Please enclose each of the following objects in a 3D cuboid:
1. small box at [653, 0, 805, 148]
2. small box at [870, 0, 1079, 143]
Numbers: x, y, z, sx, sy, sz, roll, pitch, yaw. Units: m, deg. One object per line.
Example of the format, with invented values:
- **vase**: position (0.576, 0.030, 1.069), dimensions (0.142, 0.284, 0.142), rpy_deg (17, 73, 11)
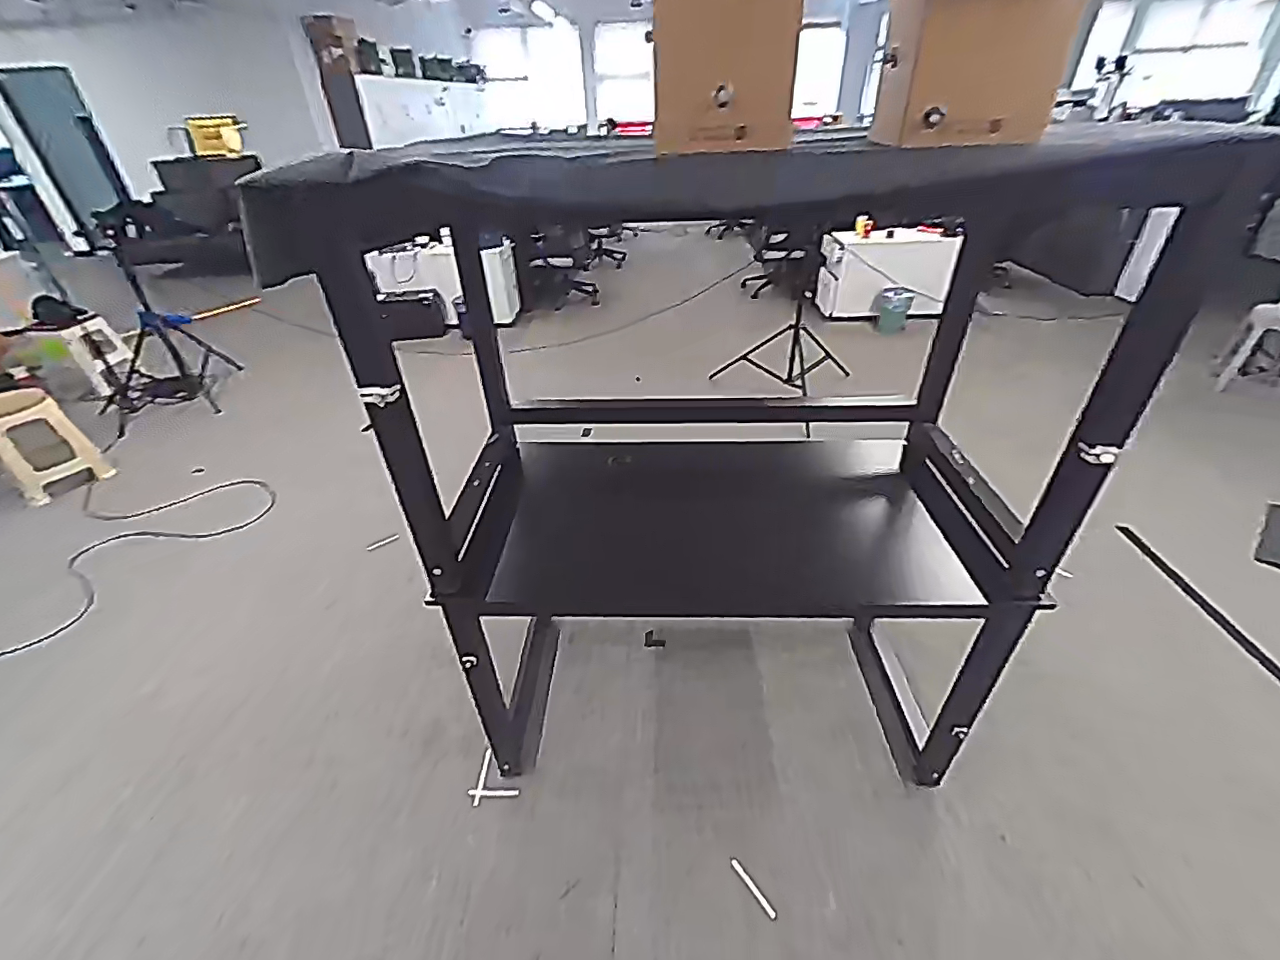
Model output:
- **small box**: position (0.102, -0.519, 0.679), dimensions (0.168, 0.176, 0.179), rpy_deg (0, 33, 4)
- **small box**: position (0.401, -0.522, 0.668), dimensions (0.168, 0.176, 0.179), rpy_deg (2, 33, 6)
